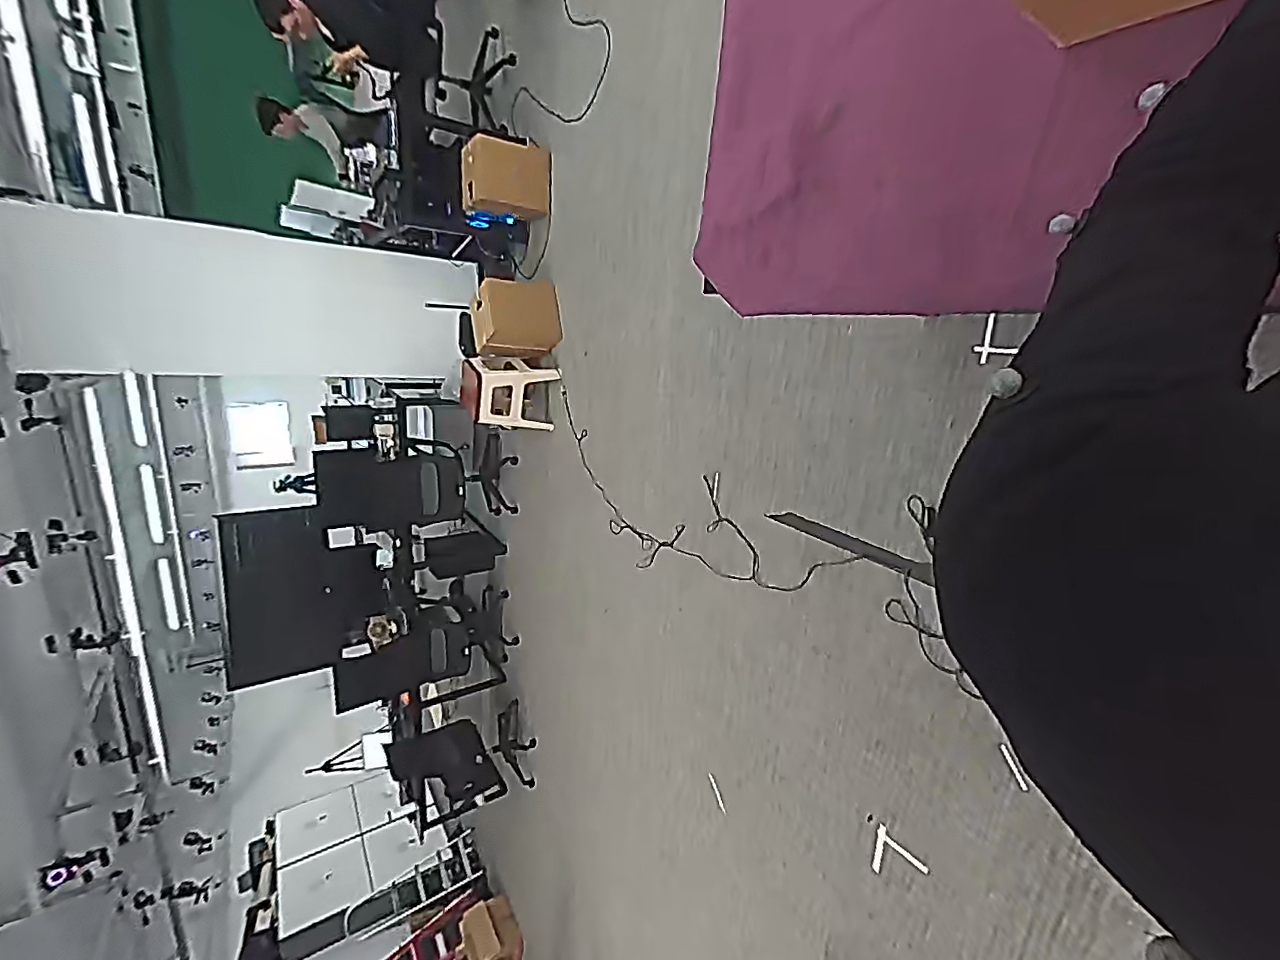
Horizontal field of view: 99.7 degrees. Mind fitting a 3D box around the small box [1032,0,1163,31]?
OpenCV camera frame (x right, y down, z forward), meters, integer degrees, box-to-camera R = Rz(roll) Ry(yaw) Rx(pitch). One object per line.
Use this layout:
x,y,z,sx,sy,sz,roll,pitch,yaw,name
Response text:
0.411,-0.495,0.414,0.179,0.176,0.168,24,115,52,small box
